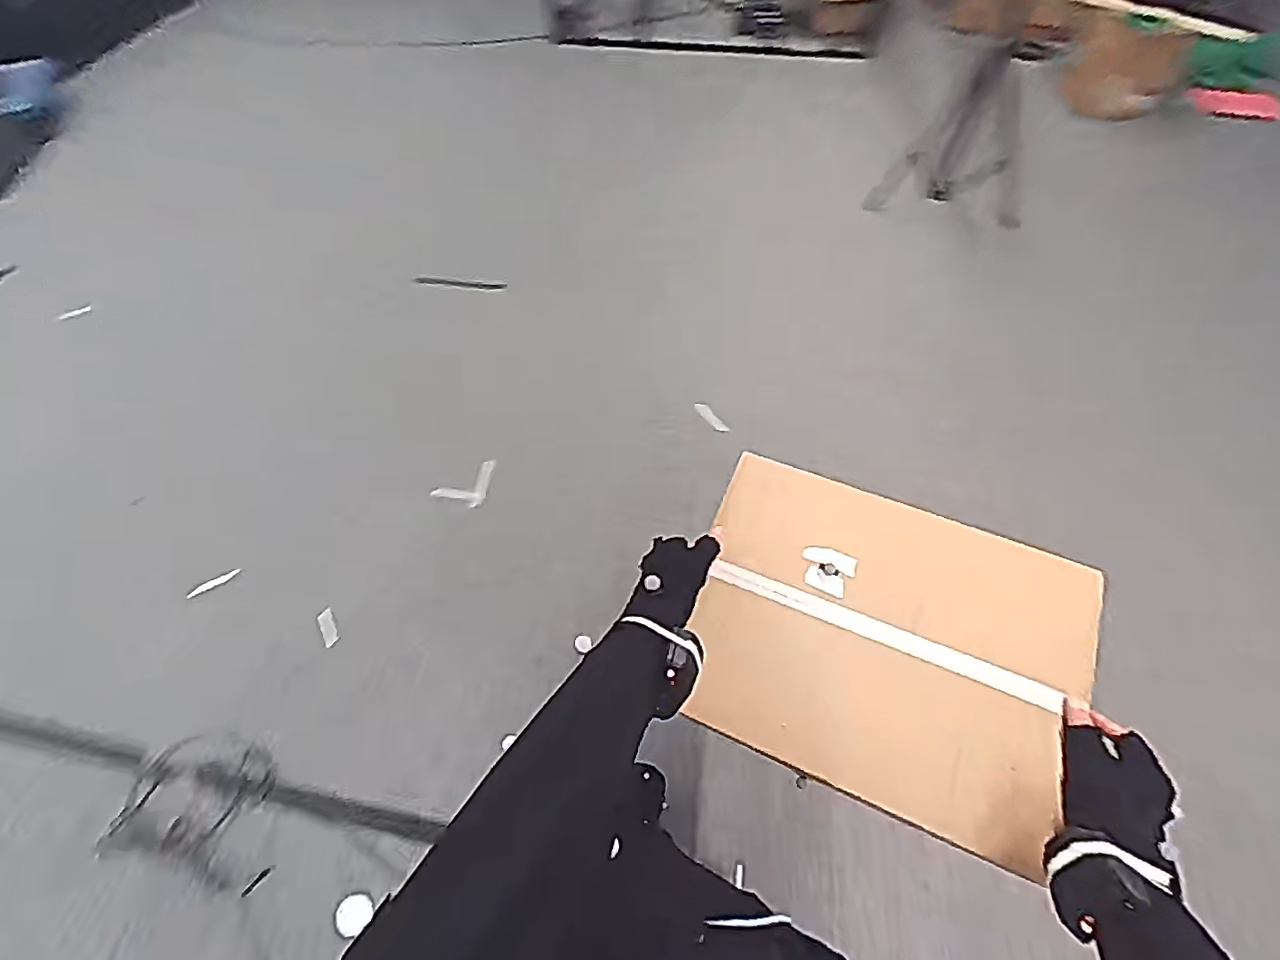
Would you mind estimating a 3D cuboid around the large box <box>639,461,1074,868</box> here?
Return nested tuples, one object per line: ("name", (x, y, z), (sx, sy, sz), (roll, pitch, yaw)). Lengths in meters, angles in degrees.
("large box", (0.255, 0.225, 0.720), (0.408, 0.320, 0.320), (19, 68, 15))
